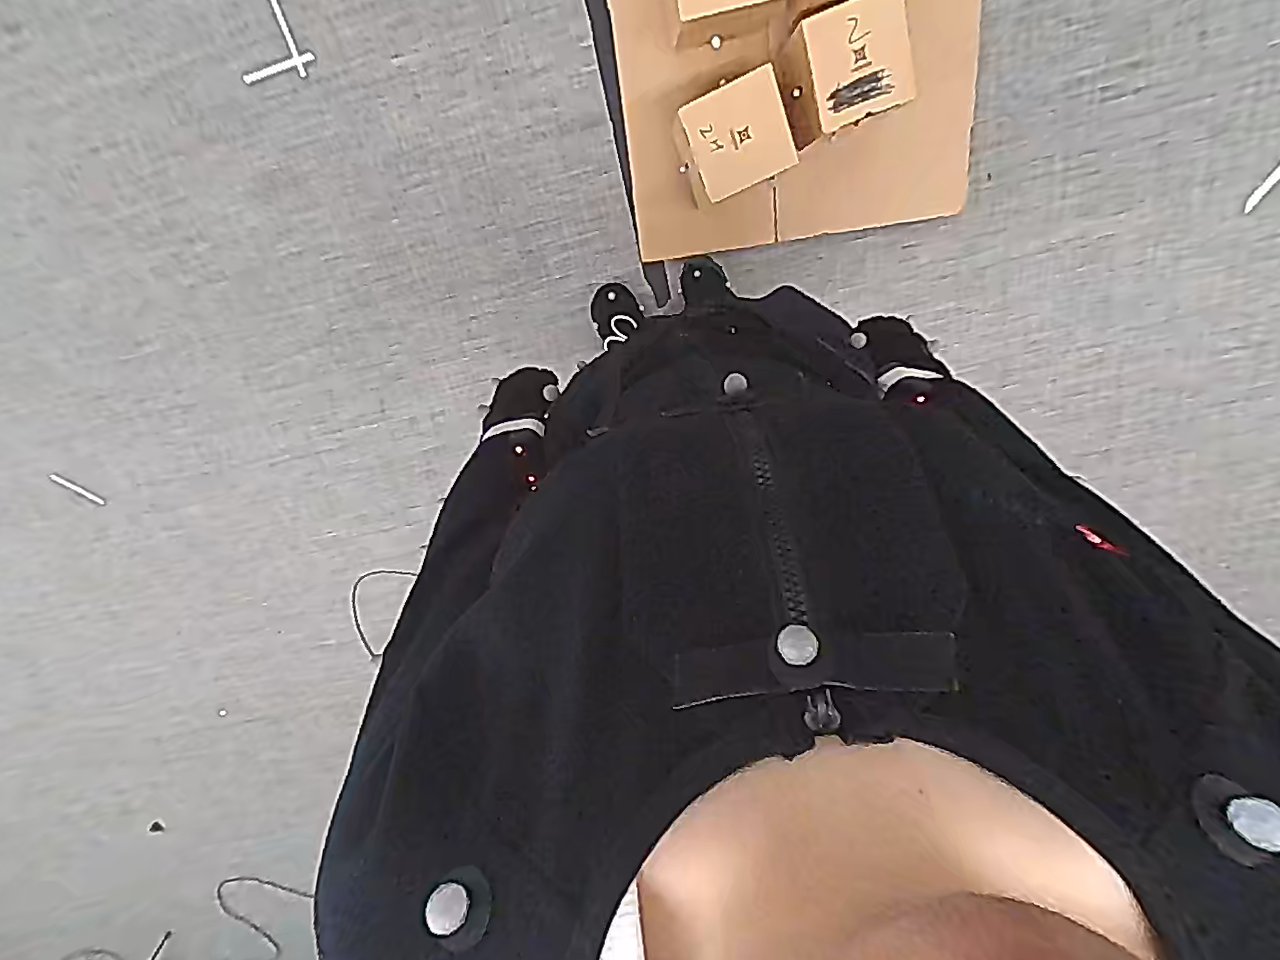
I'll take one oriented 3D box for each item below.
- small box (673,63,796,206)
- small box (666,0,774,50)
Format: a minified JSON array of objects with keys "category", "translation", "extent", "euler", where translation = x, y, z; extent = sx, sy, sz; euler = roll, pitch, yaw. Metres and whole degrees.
[{"category":"small box","translation":[0.174,-0.647,1.036],"extent":[0.179,0.176,0.168],"euler":[-21,111,8]},{"category":"small box","translation":[0.127,-0.889,0.932],"extent":[0.168,0.176,0.179],"euler":[-10,114,4]}]
